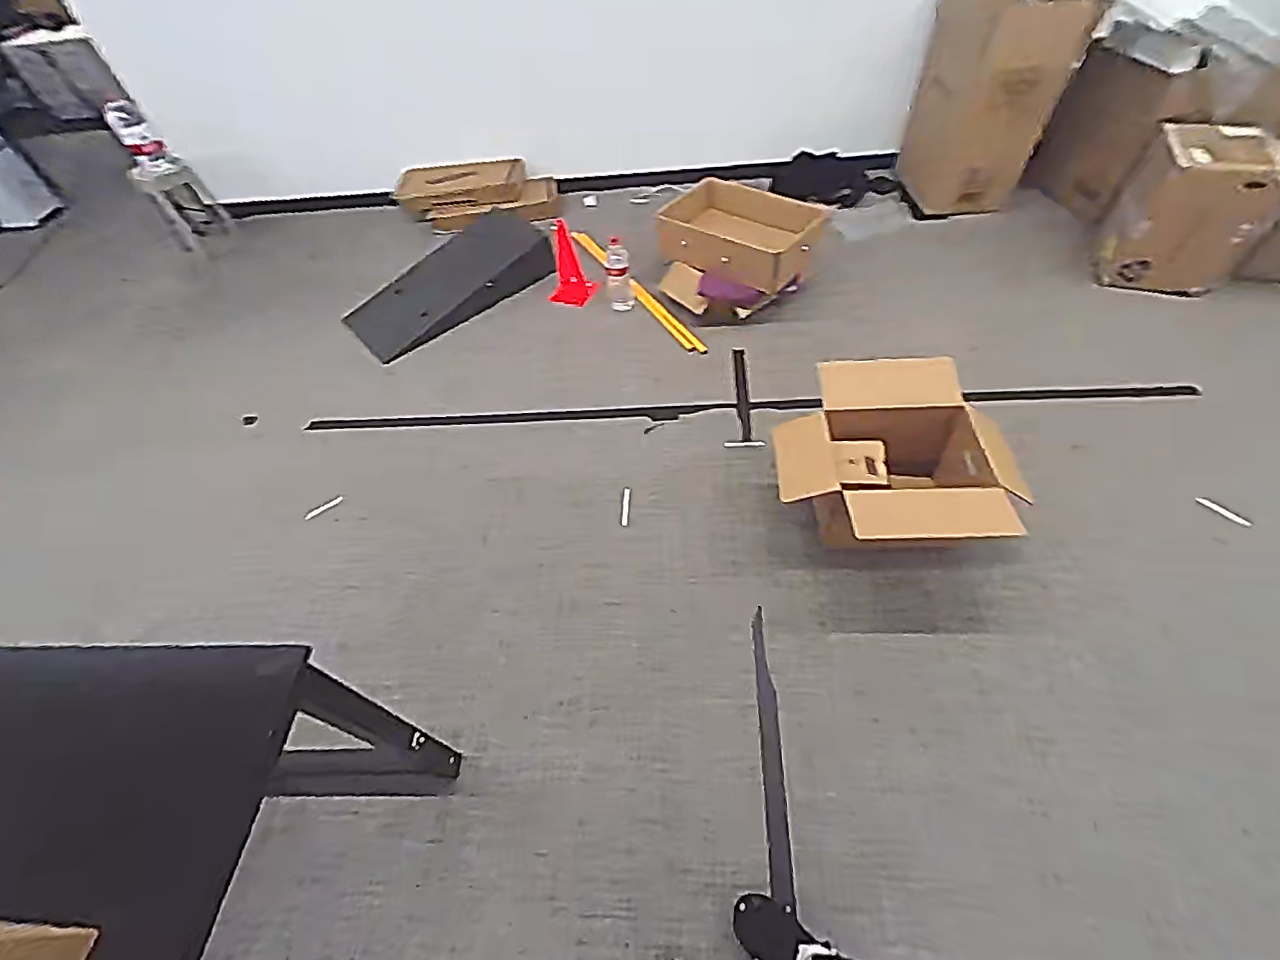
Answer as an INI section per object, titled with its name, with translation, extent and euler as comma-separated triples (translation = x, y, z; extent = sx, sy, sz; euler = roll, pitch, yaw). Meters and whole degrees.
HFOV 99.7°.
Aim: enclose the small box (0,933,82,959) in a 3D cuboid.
[small box]
translation = -0.709, 0.546, 0.514
extent = 0.168, 0.176, 0.179
euler = -4, 51, 7
